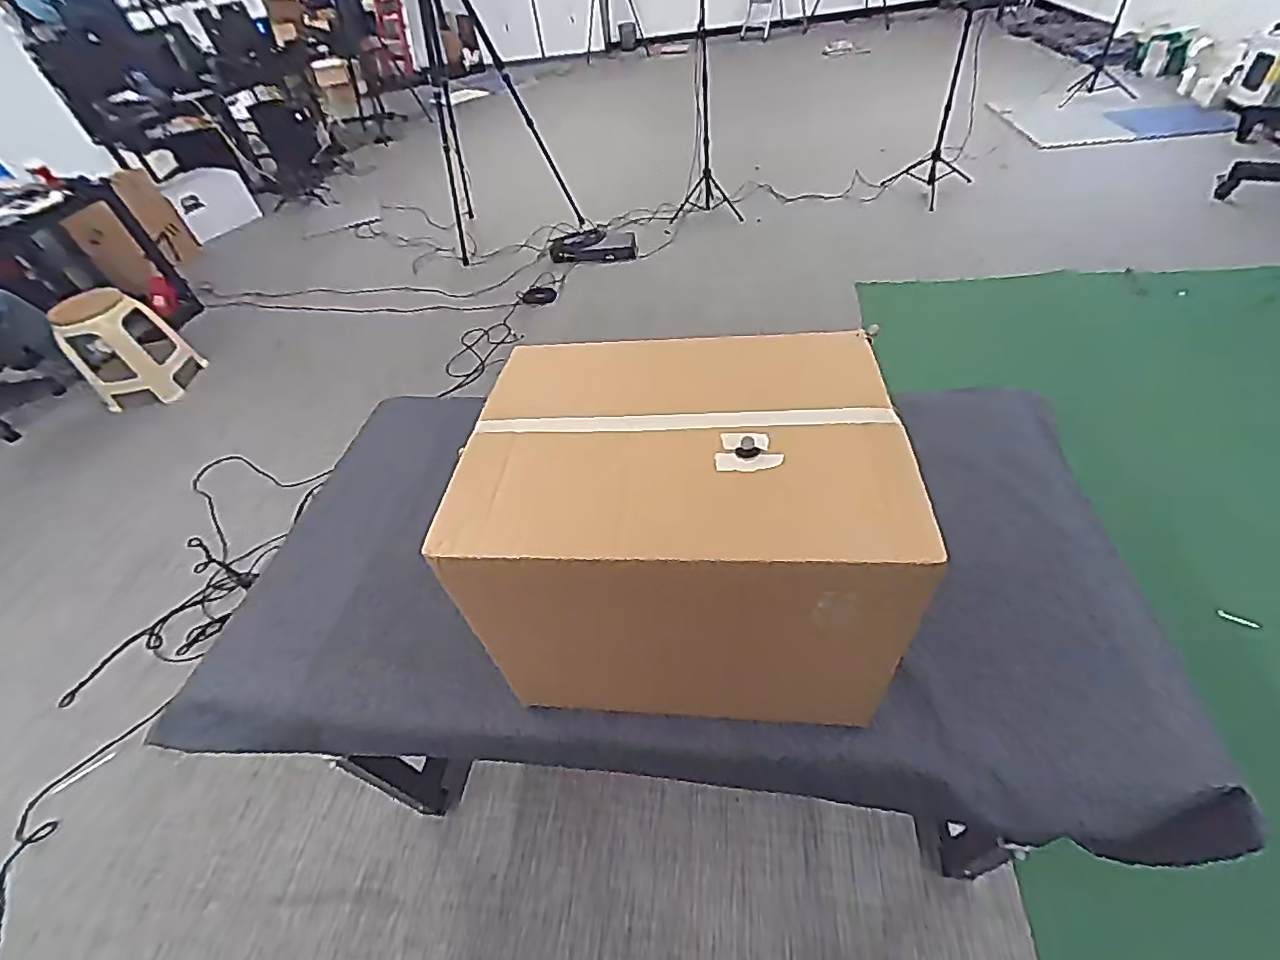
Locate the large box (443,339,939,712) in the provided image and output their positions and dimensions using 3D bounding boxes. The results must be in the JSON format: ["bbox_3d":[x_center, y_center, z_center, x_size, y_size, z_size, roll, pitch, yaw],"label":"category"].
[{"bbox_3d":[0.054,0.056,0.635,0.408,0.320,0.320,0,47,7],"label":"large box"}]
